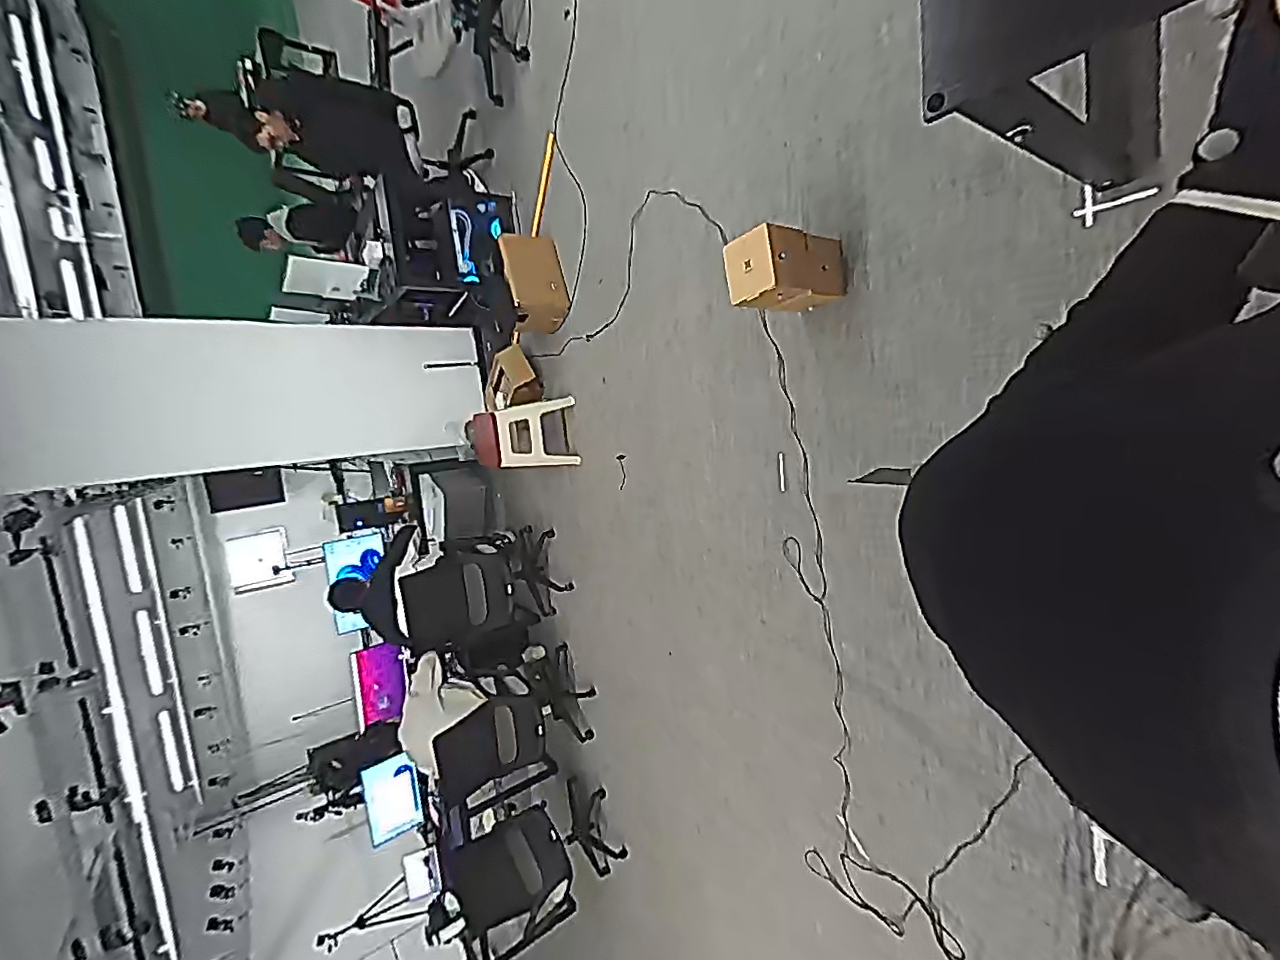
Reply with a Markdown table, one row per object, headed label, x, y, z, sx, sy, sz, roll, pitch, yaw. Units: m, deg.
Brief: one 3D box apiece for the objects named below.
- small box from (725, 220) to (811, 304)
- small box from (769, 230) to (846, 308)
| label | x | y | z | sx | sy | sz | roll | pitch | yaw |
| --- | --- | --- | --- | --- | --- | --- | --- | --- | --- |
| small box | 0.370 | -0.615 | 1.550 | 0.168 | 0.176 | 0.179 | -8 | 90 | 53 |
| small box | 0.501 | -0.632 | 1.643 | 0.168 | 0.176 | 0.179 | -2 | 97 | 54 |
